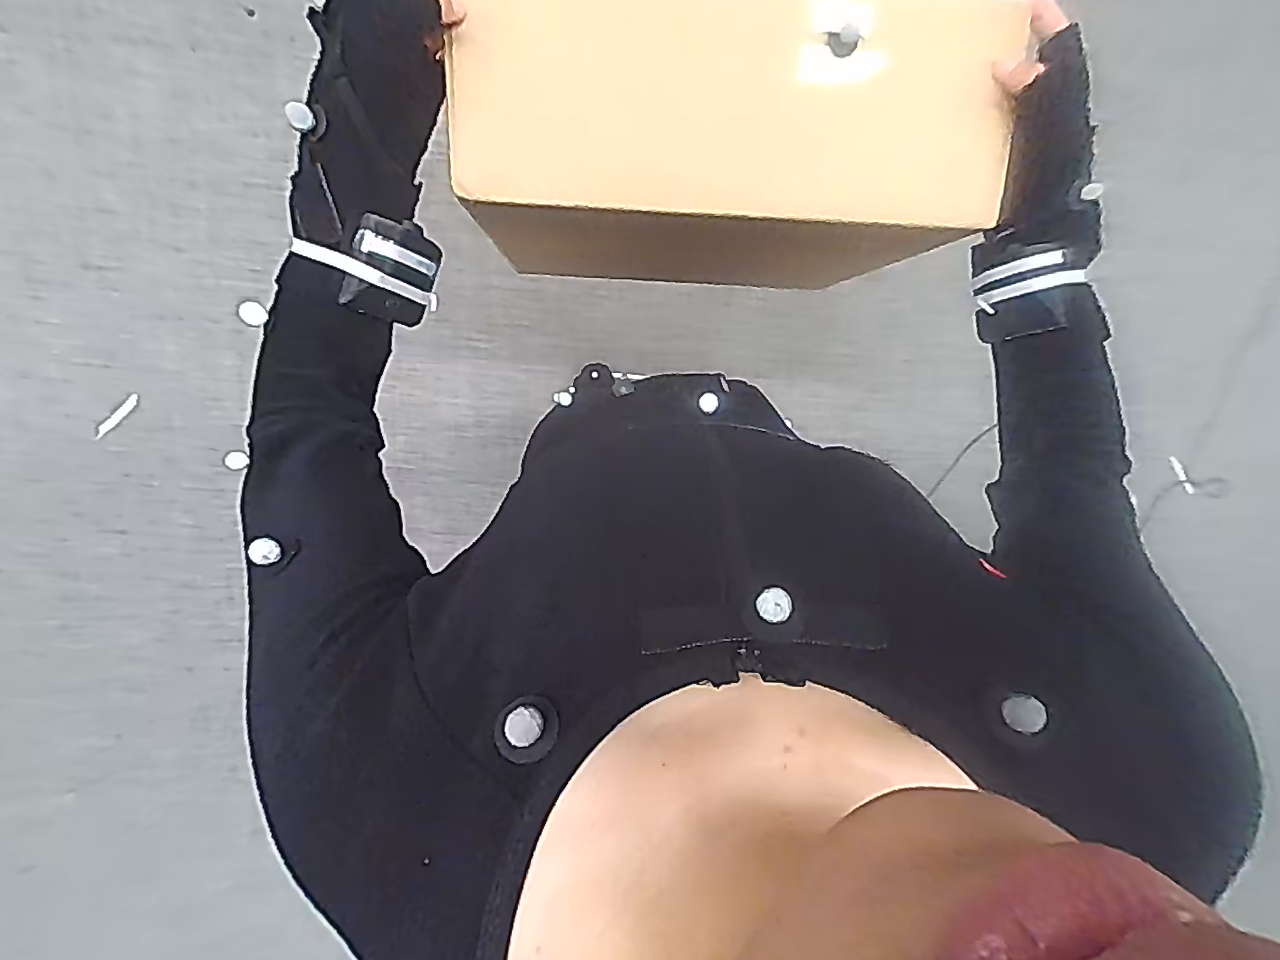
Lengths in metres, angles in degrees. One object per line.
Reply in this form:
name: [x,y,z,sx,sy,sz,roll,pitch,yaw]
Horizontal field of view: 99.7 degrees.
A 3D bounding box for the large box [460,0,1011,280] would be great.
large box: [0.059,-0.383,0.523,0.408,0.320,0.320,0,102,-6]
